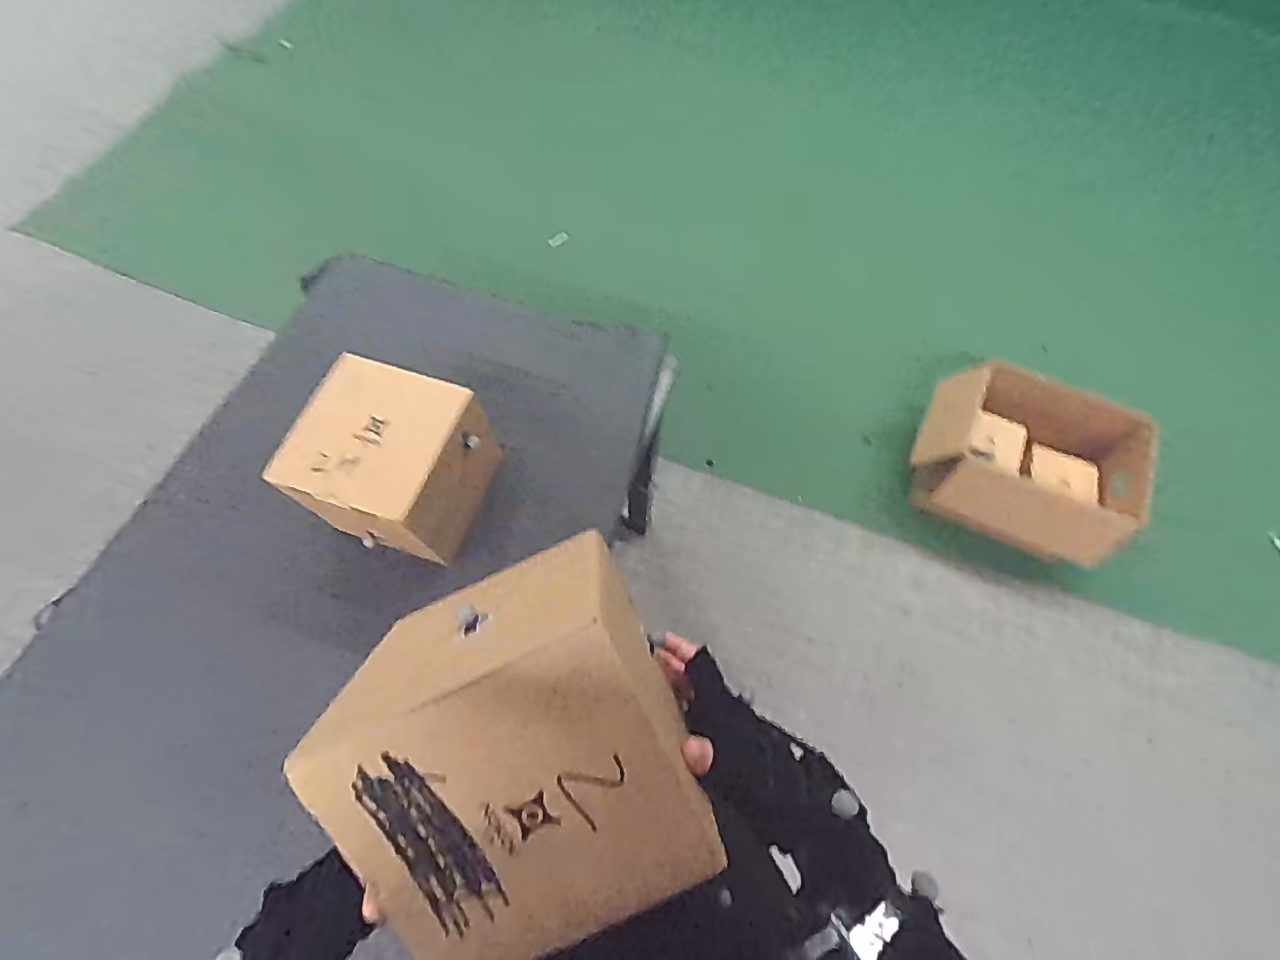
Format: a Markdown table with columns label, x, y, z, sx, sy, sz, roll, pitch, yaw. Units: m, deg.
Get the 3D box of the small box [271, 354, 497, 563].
| label | x | y | z | sx | sy | sz | roll | pitch | yaw |
| --- | --- | --- | --- | --- | --- | --- | --- | --- | --- |
| small box | -0.293 | -0.019 | 0.671 | 0.168 | 0.176 | 0.179 | 17 | 67 | 7 |
